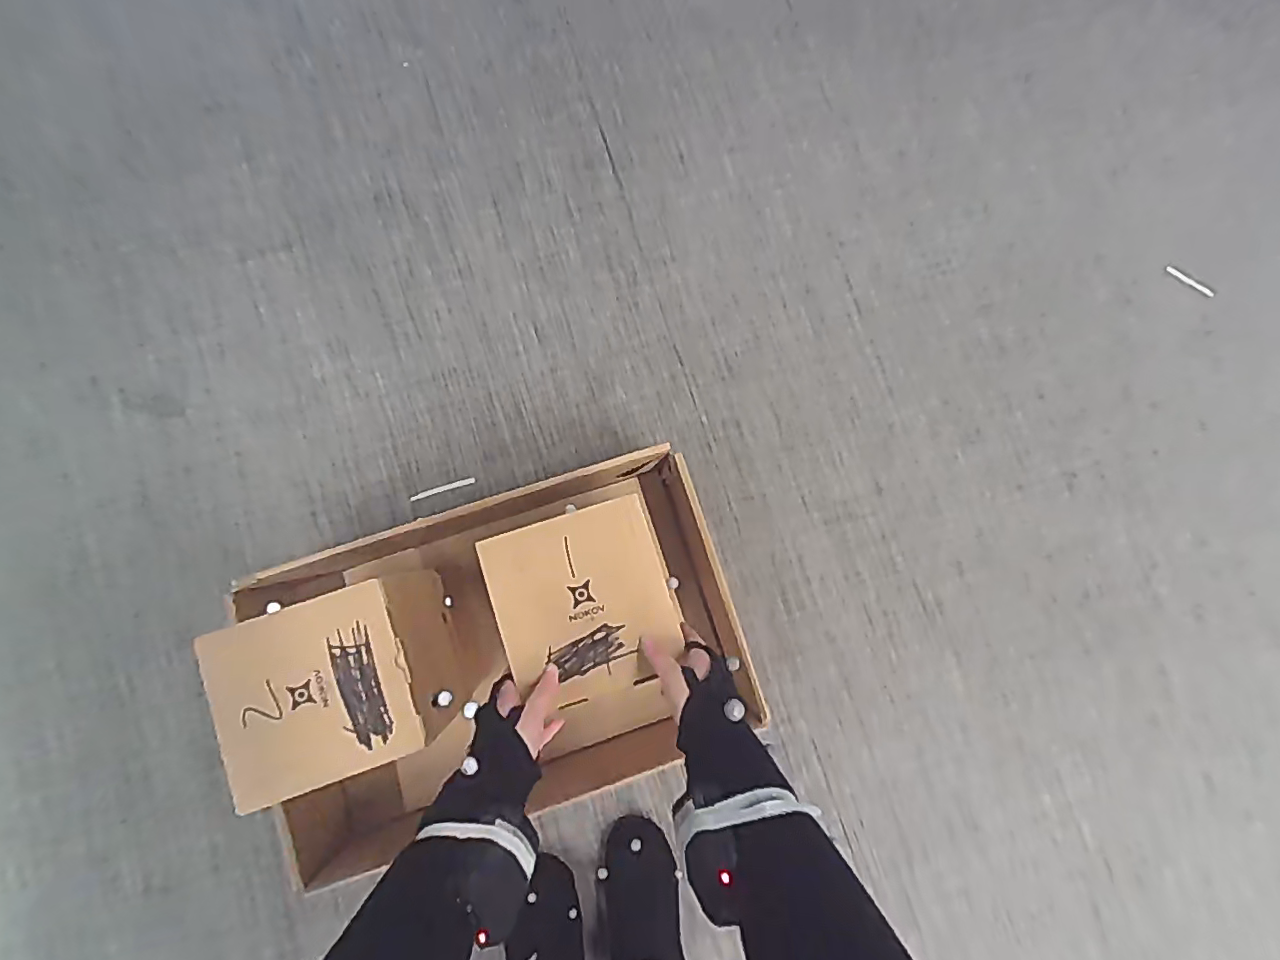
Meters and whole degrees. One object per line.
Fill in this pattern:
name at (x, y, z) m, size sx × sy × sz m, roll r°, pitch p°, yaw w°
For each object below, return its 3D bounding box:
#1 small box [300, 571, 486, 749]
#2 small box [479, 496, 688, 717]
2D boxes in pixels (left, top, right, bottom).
small box at (-0.323, 0.231, 0.741) m, size 0.168 × 0.176 × 0.179 m, roll -14°, pitch 84°, yaw -5°
small box at (-0.056, 0.127, 0.598) m, size 0.168 × 0.176 × 0.179 m, roll -18°, pitch 84°, yaw -4°
